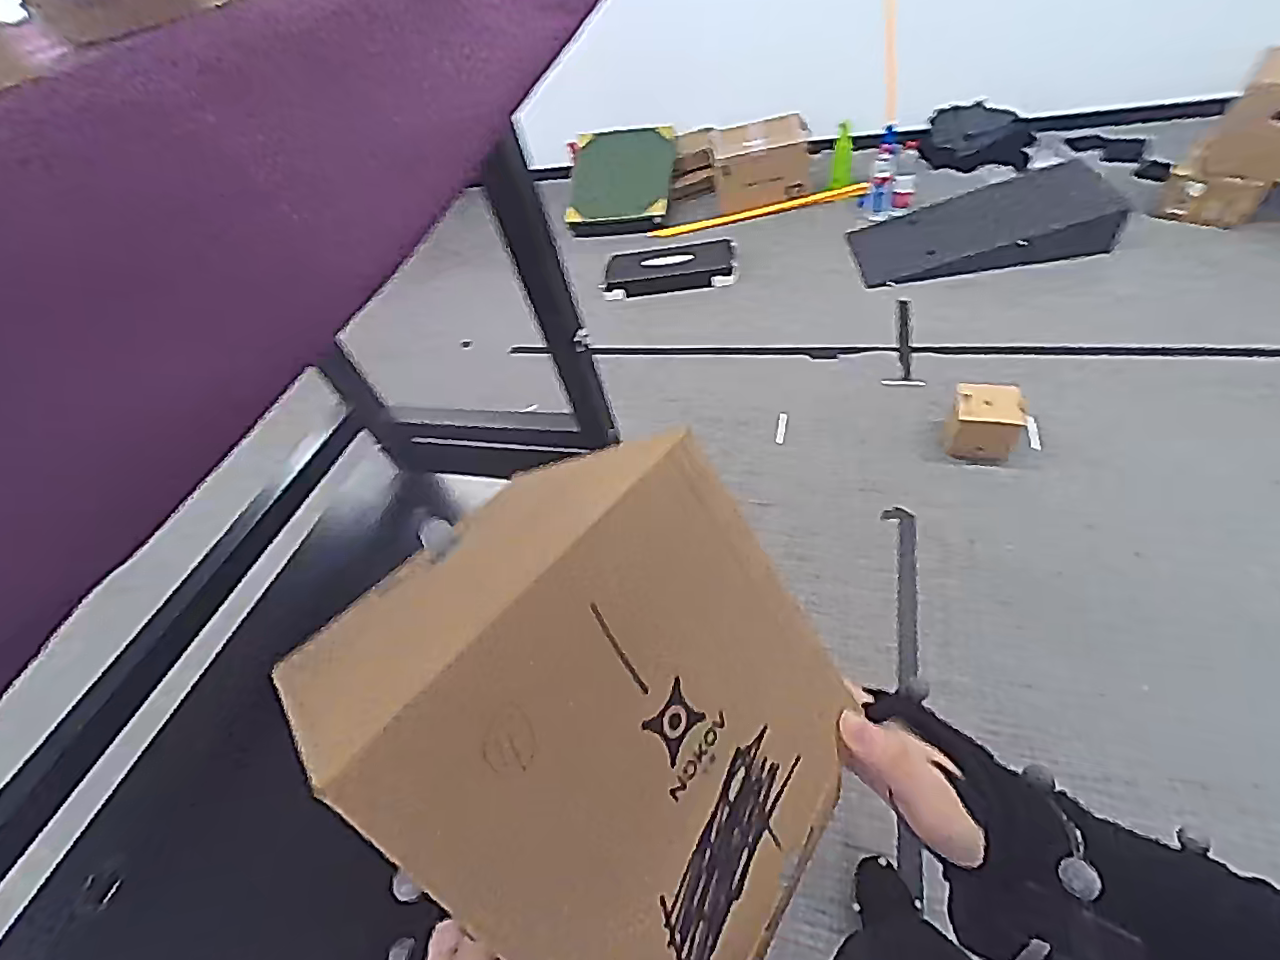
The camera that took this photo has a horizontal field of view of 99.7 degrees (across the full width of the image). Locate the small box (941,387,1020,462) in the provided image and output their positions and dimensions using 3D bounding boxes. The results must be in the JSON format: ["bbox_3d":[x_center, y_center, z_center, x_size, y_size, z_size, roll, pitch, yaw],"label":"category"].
[{"bbox_3d":[1.086,-0.175,1.735,0.179,0.176,0.168,8,53,18],"label":"small box"}]
